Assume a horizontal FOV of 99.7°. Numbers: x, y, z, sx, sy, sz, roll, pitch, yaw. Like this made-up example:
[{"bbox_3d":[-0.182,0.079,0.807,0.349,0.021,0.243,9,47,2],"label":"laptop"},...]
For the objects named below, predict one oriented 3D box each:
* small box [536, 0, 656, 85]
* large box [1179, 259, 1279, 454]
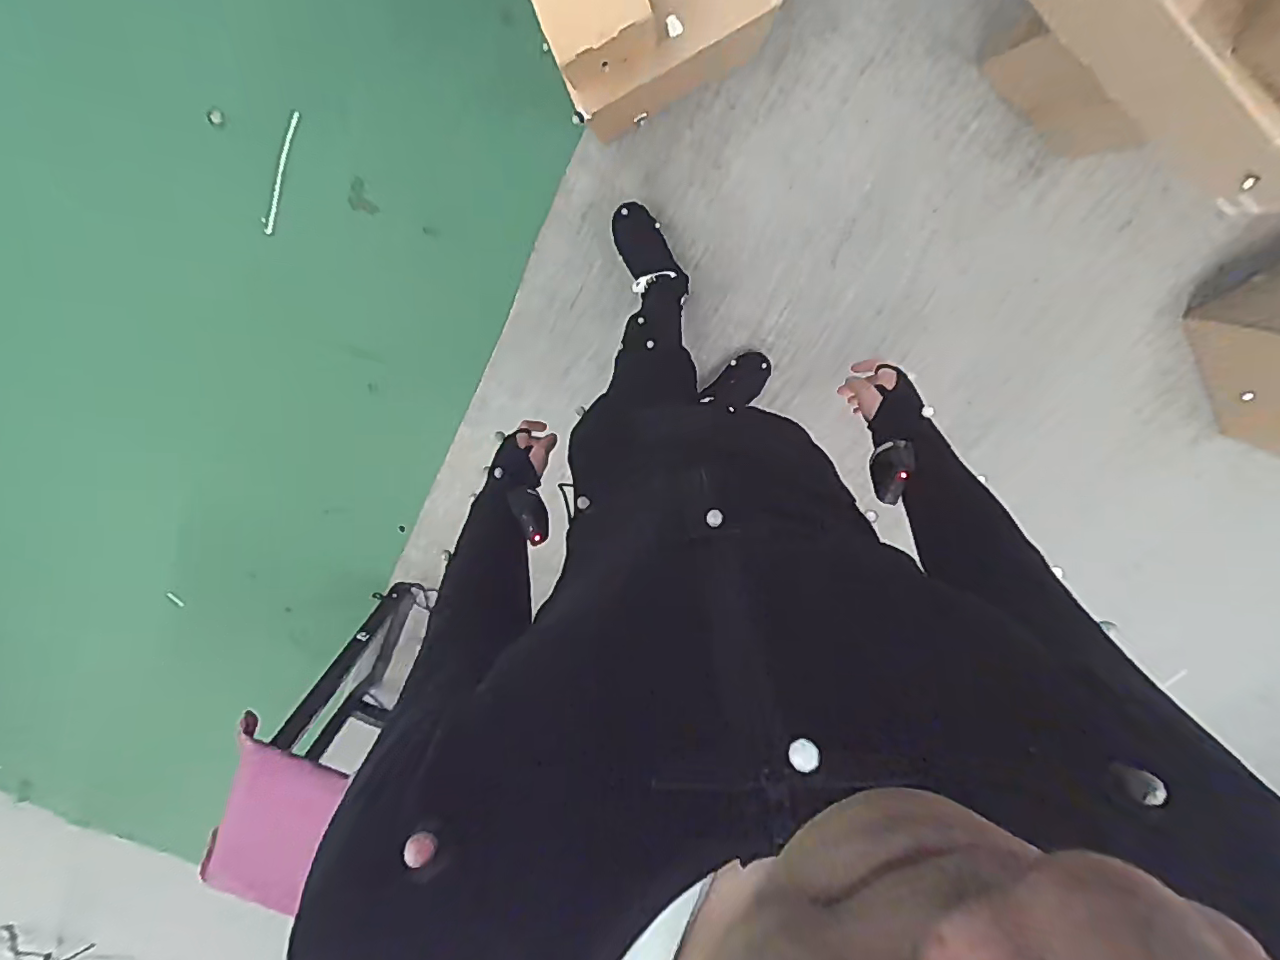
[{"bbox_3d":[-0.081,-0.790,0.881,0.168,0.176,0.179,-20,114,12],"label":"small box"},{"bbox_3d":[1.611,-0.291,1.270,0.320,0.320,0.408,-34,108,17],"label":"large box"}]
